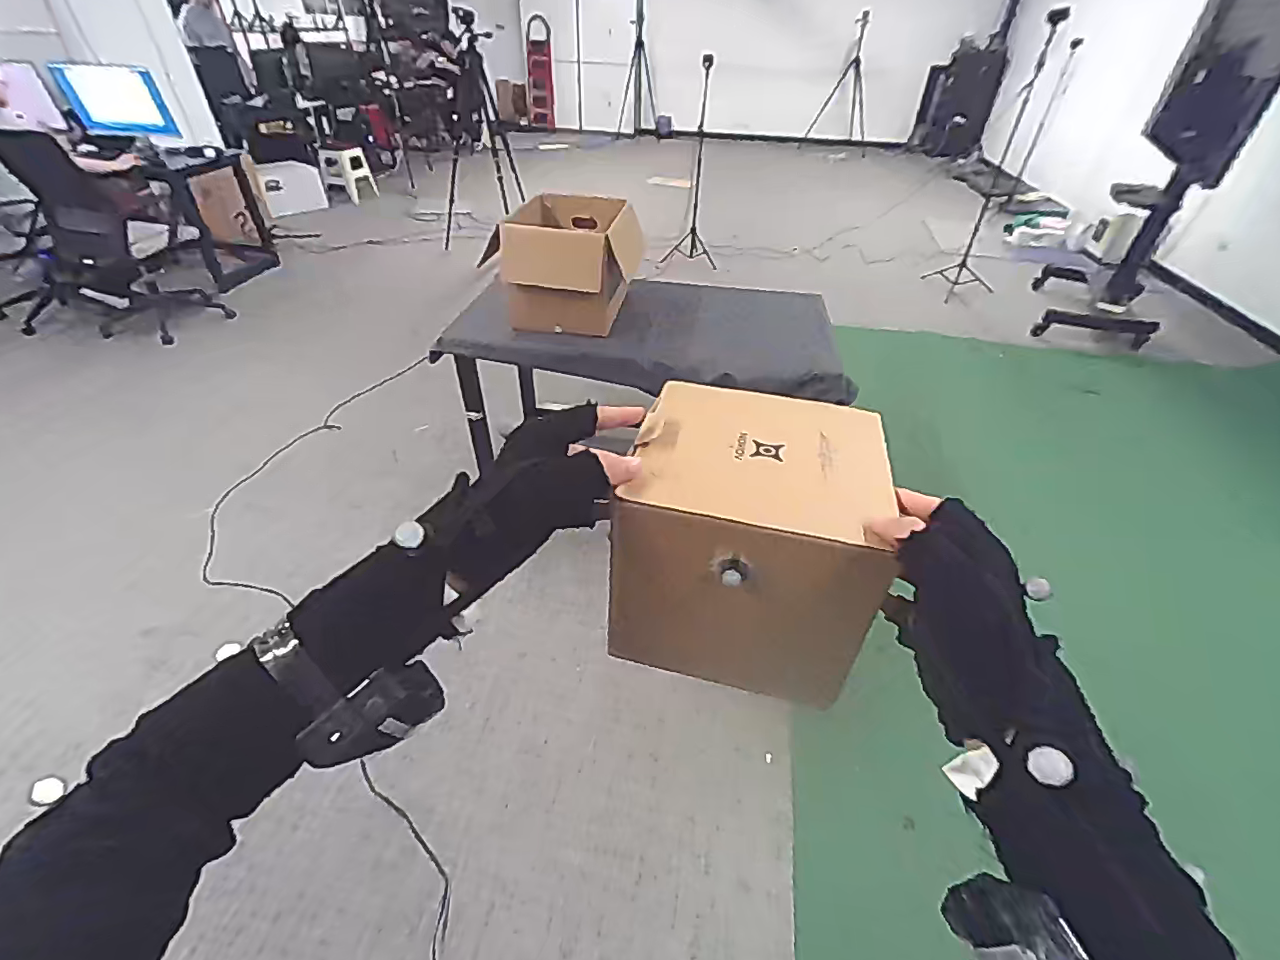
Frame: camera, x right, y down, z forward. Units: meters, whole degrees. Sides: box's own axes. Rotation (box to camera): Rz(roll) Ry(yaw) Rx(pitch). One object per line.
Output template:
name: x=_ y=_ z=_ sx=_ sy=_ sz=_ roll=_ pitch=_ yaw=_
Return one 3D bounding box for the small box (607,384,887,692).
small box: x=0.076 y=0.044 z=0.439 sx=0.179 sy=0.176 sz=0.168 roll=11 pitch=38 yaw=9
